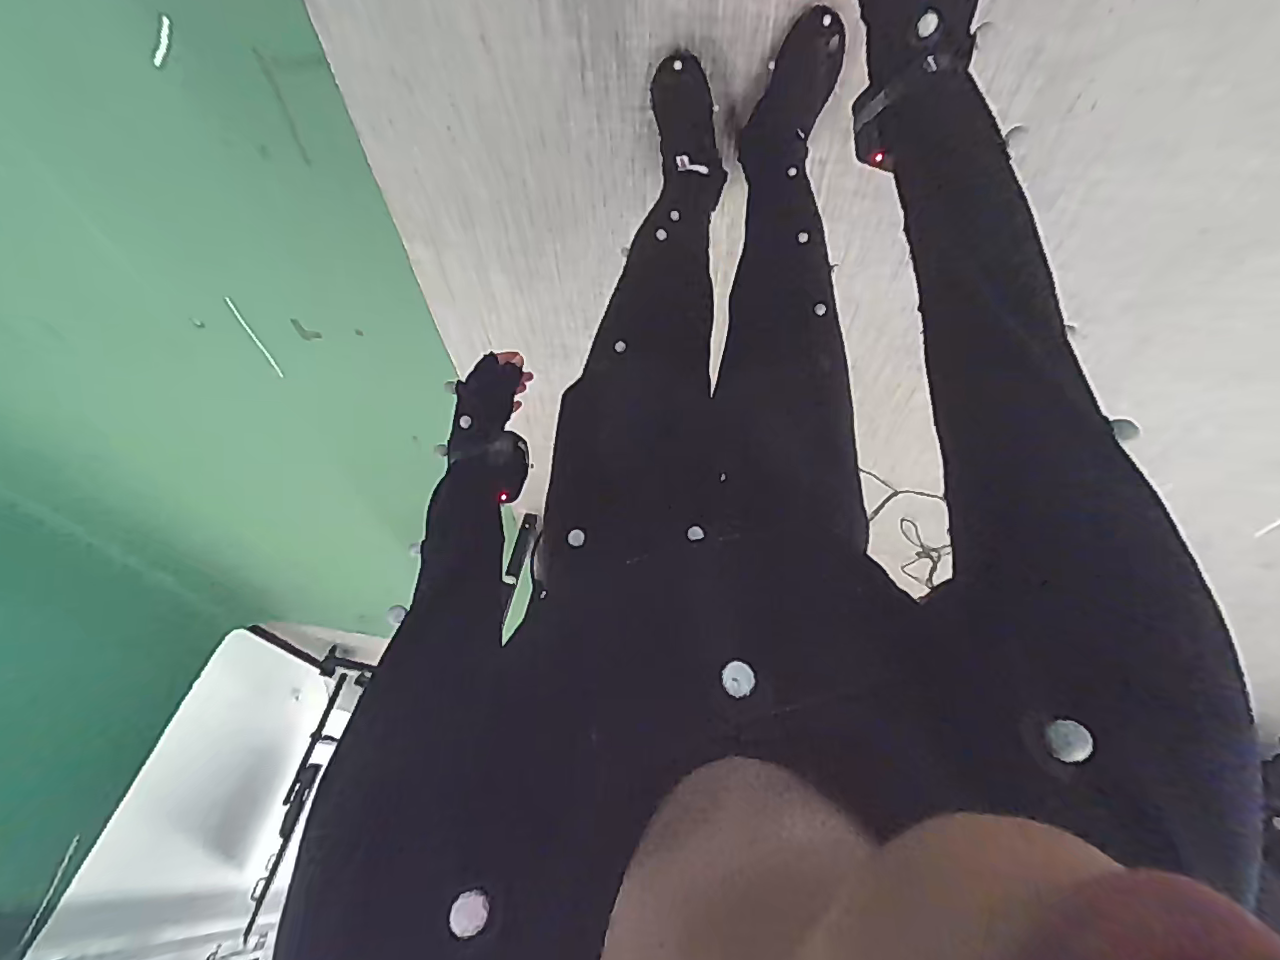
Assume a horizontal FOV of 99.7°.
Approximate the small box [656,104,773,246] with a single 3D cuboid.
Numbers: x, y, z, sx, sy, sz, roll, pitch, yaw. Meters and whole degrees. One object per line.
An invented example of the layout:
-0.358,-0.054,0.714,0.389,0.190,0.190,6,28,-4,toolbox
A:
0.130,-0.572,1.024,0.168,0.176,0.179,-5,149,-9,small box
